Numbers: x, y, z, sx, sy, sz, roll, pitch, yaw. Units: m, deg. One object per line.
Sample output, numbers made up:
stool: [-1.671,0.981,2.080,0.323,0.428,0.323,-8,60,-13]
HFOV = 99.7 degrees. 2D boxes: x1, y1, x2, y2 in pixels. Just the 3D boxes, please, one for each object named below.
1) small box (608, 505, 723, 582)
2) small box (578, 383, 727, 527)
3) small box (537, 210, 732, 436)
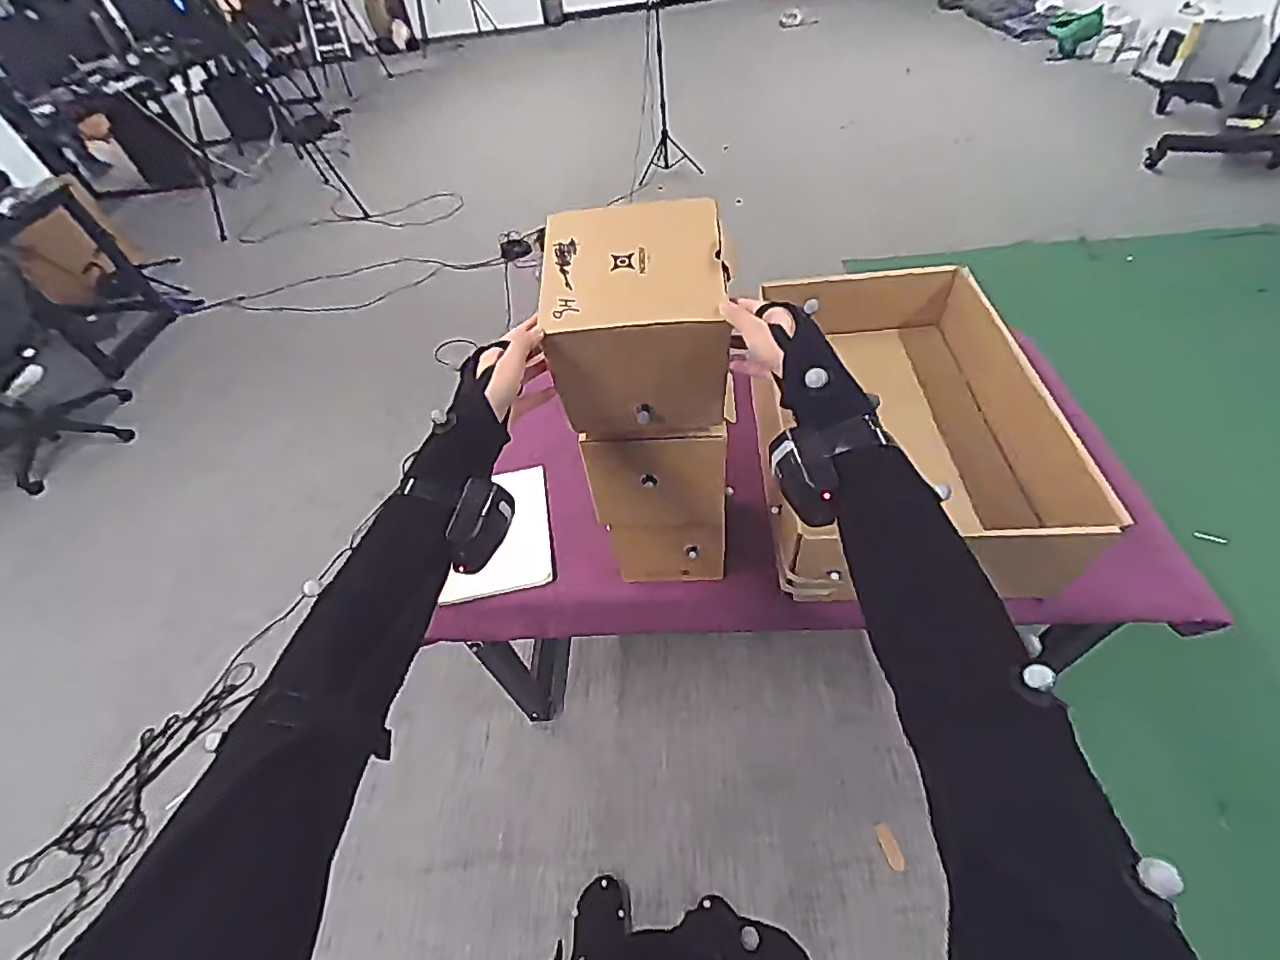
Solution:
small box: [0.047,0.052,0.869,0.168,0.176,0.179,-2,48,6]
small box: [0.024,-0.048,0.741,0.179,0.176,0.168,-2,48,6]
small box: [-0.001,-0.161,0.586,0.179,0.176,0.168,-2,60,4]
